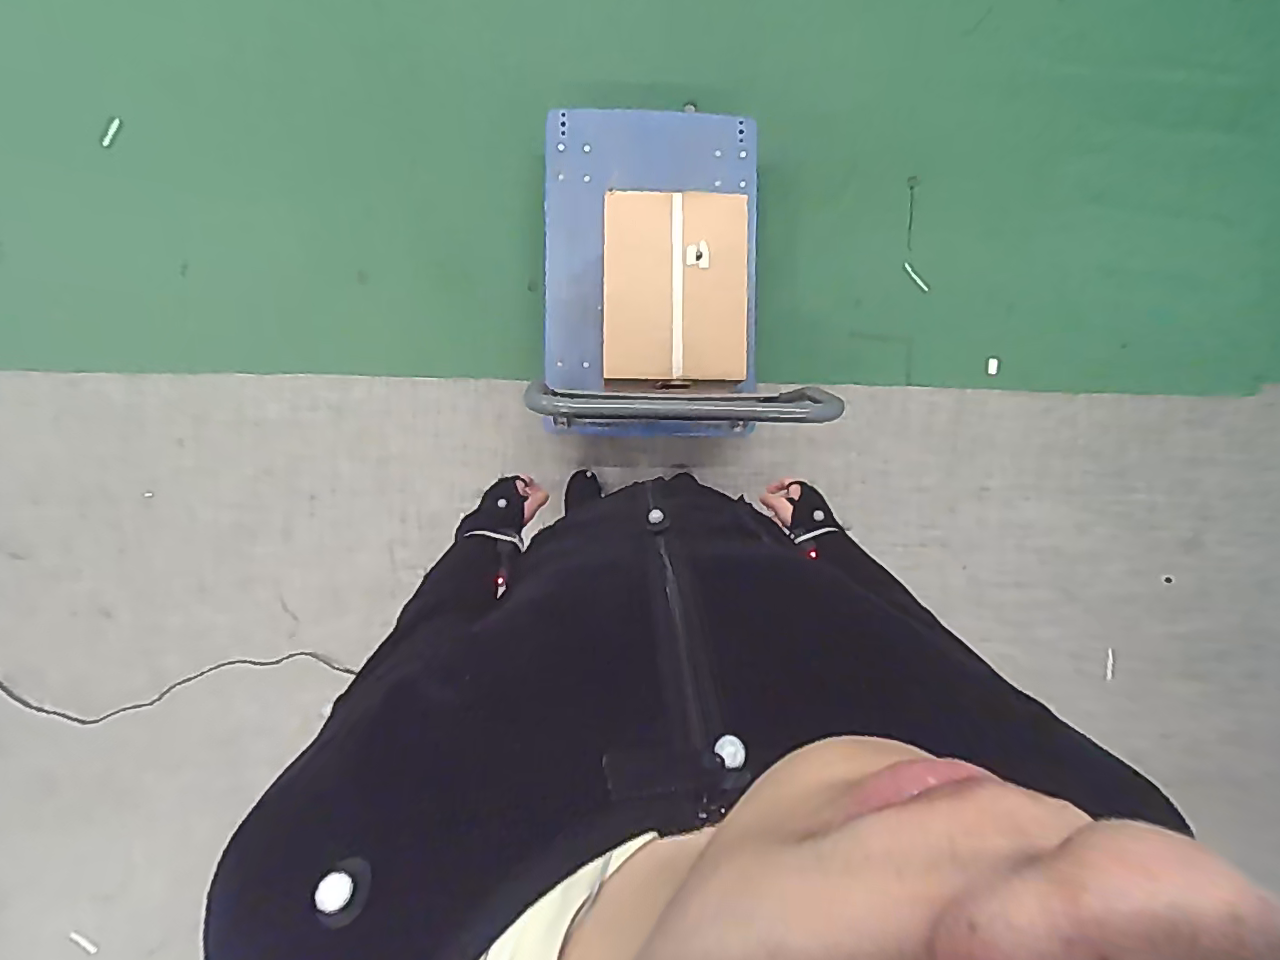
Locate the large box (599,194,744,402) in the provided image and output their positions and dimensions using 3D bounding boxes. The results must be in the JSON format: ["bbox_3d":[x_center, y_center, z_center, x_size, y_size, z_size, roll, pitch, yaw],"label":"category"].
[{"bbox_3d":[0.062,-0.414,1.314,0.320,0.320,0.408,0,89,-4],"label":"large box"}]
